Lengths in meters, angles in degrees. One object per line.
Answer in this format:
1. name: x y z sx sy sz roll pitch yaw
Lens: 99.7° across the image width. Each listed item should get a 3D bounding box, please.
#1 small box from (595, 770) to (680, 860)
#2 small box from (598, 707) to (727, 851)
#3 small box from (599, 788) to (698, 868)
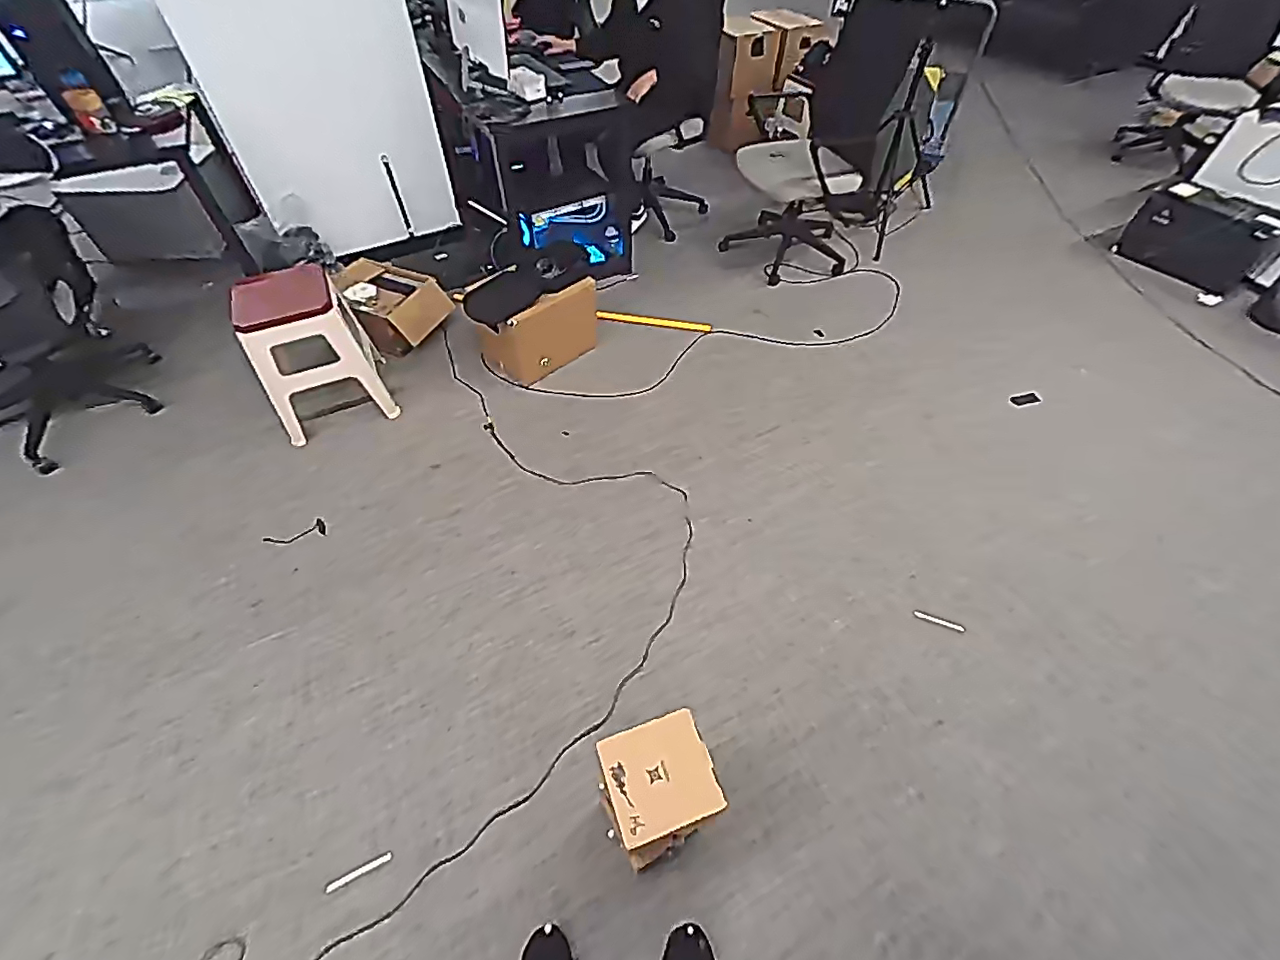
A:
1. small box: 0.027 0.633 1.093 0.179 0.176 0.168 -28 58 -22
2. small box: 0.030 0.533 0.962 0.179 0.176 0.168 -15 54 -14
3. small box: 0.022 0.737 1.217 0.179 0.176 0.168 -26 56 -18
